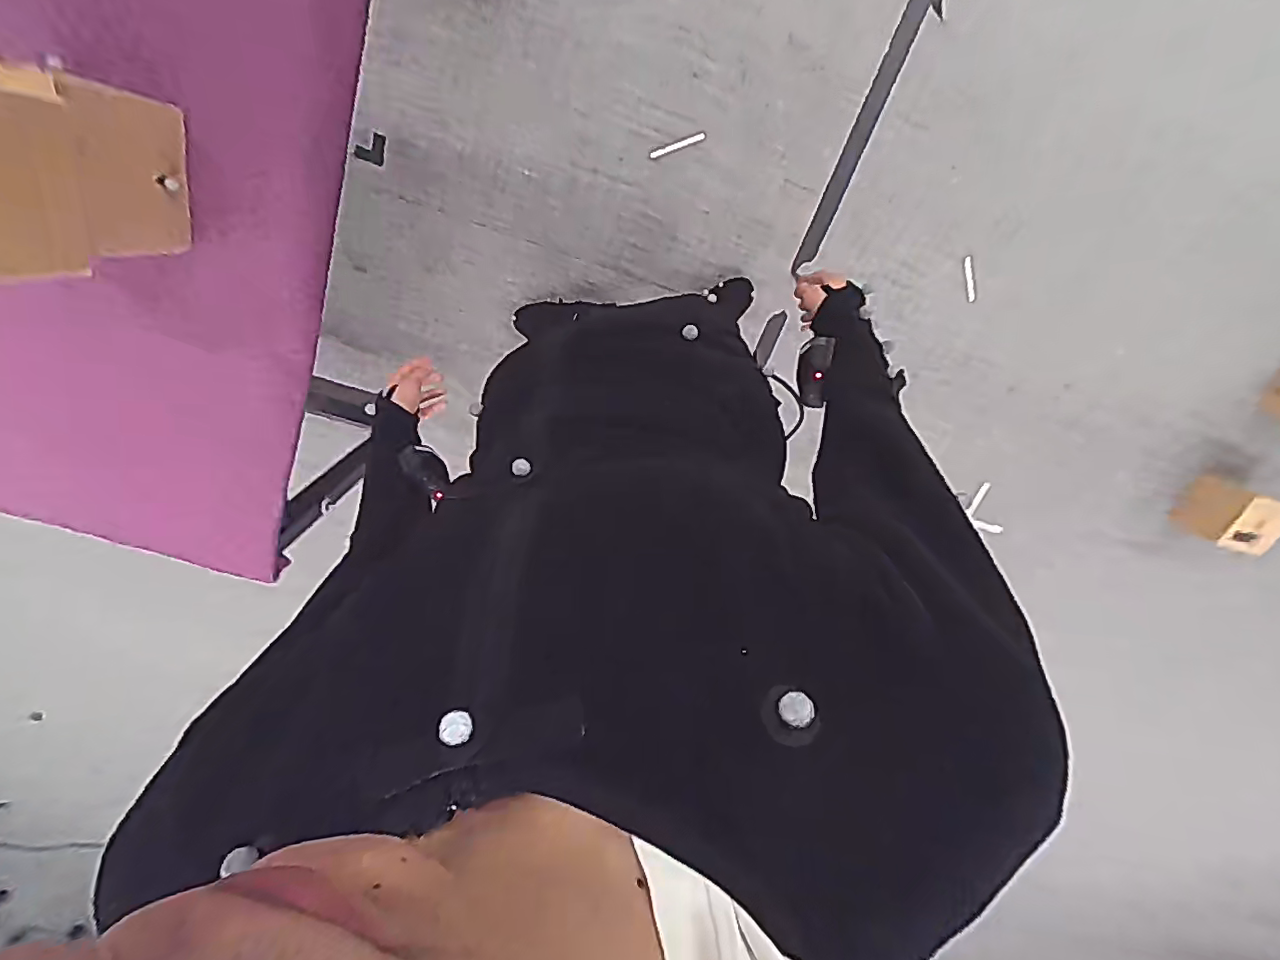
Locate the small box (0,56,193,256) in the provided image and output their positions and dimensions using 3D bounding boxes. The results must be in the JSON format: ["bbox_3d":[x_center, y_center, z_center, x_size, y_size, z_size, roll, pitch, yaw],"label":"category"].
[{"bbox_3d":[-0.679,-0.381,0.643,0.168,0.176,0.179,15,114,-5],"label":"small box"}]

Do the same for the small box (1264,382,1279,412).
[{"bbox_3d":[1.952,-0.238,1.512,0.179,0.176,0.168,13,114,-6],"label":"small box"}]

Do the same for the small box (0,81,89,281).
[{"bbox_3d":[-0.678,-0.293,0.504,0.168,0.176,0.179,15,114,-5],"label":"small box"}]
